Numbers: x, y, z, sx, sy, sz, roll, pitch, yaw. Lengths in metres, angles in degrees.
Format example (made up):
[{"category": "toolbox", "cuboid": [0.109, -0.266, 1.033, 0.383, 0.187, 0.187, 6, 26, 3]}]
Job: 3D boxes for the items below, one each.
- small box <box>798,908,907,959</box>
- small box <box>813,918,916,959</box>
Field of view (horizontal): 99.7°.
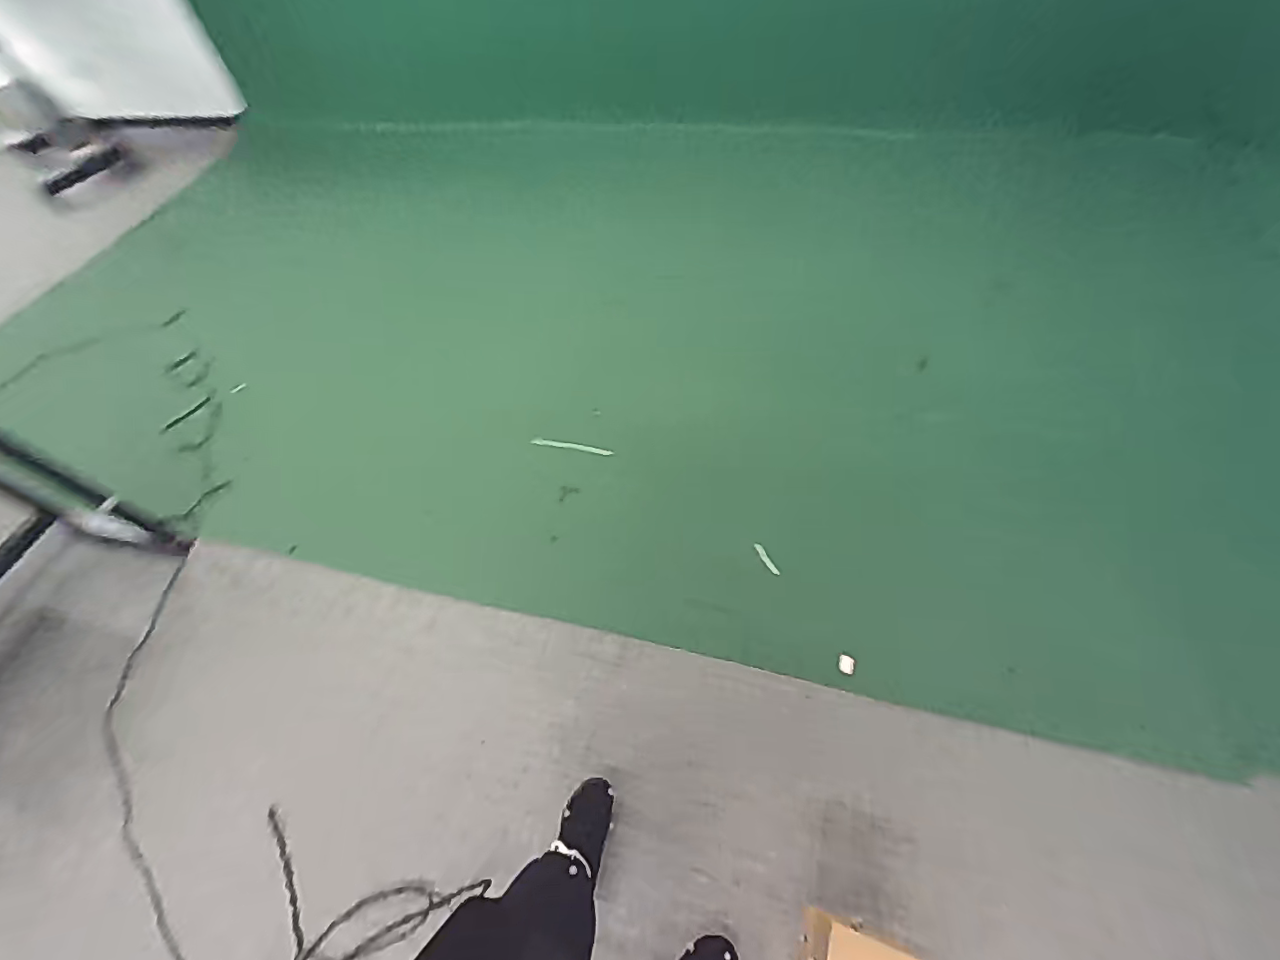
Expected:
[{"category": "small box", "cuboid": [0.420, 1.003, 1.098, 0.179, 0.176, 0.168, 14, 59, 15]}, {"category": "small box", "cuboid": [0.401, 0.915, 0.959, 0.179, 0.176, 0.168, 15, 60, 16]}]
